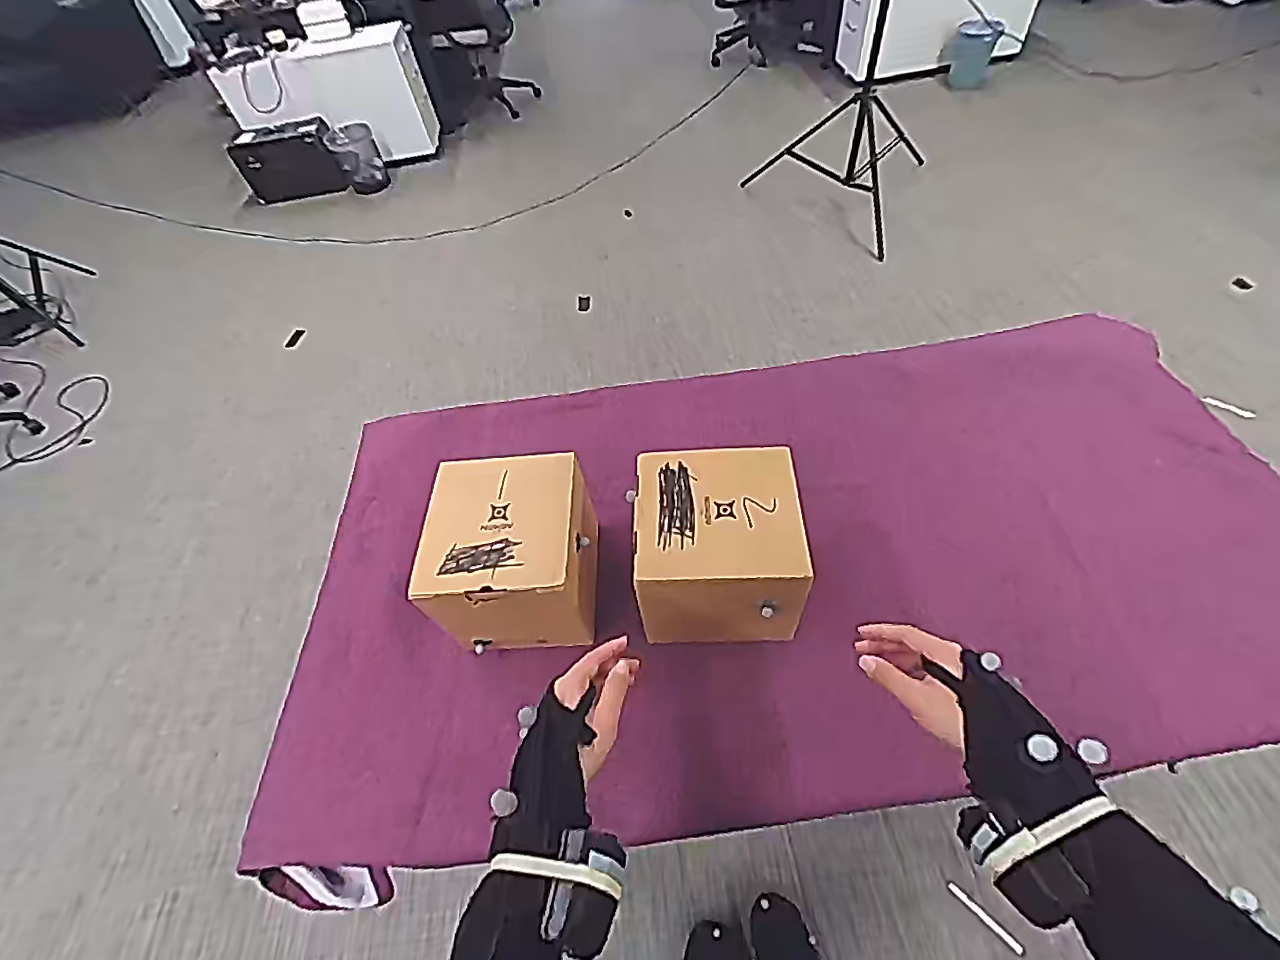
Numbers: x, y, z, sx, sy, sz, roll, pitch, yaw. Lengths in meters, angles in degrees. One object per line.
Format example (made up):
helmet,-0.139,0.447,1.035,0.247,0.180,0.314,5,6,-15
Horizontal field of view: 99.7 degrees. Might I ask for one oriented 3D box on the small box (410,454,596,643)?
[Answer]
small box,-0.148,0.091,0.660,0.168,0.176,0.179,-4,53,4
